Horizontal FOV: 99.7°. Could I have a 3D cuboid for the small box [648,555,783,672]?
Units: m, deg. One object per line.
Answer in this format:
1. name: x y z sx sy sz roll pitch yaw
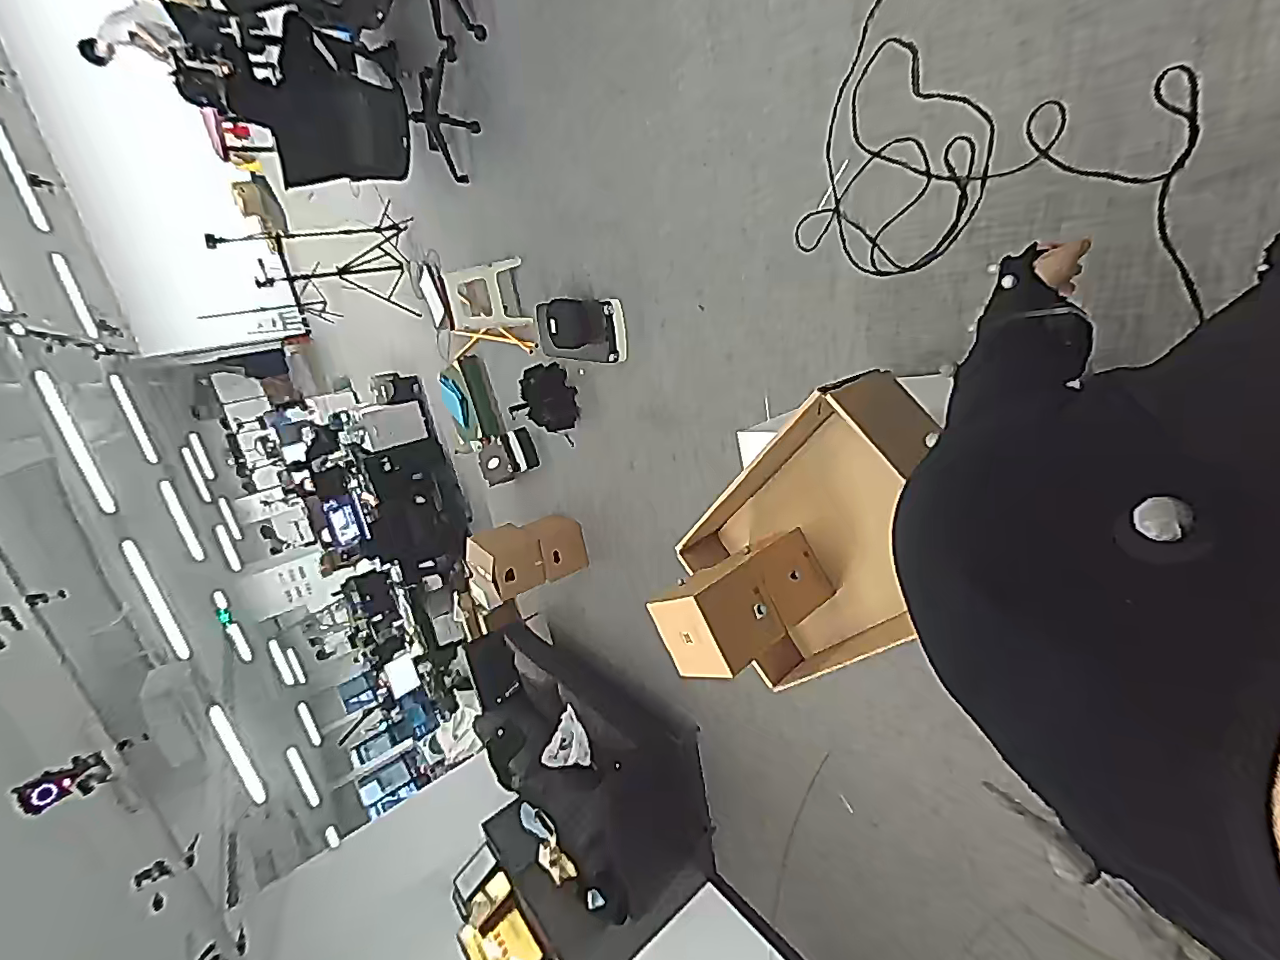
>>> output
1. small box: 0.152 0.269 1.096 0.179 0.176 0.168 -31 86 55
